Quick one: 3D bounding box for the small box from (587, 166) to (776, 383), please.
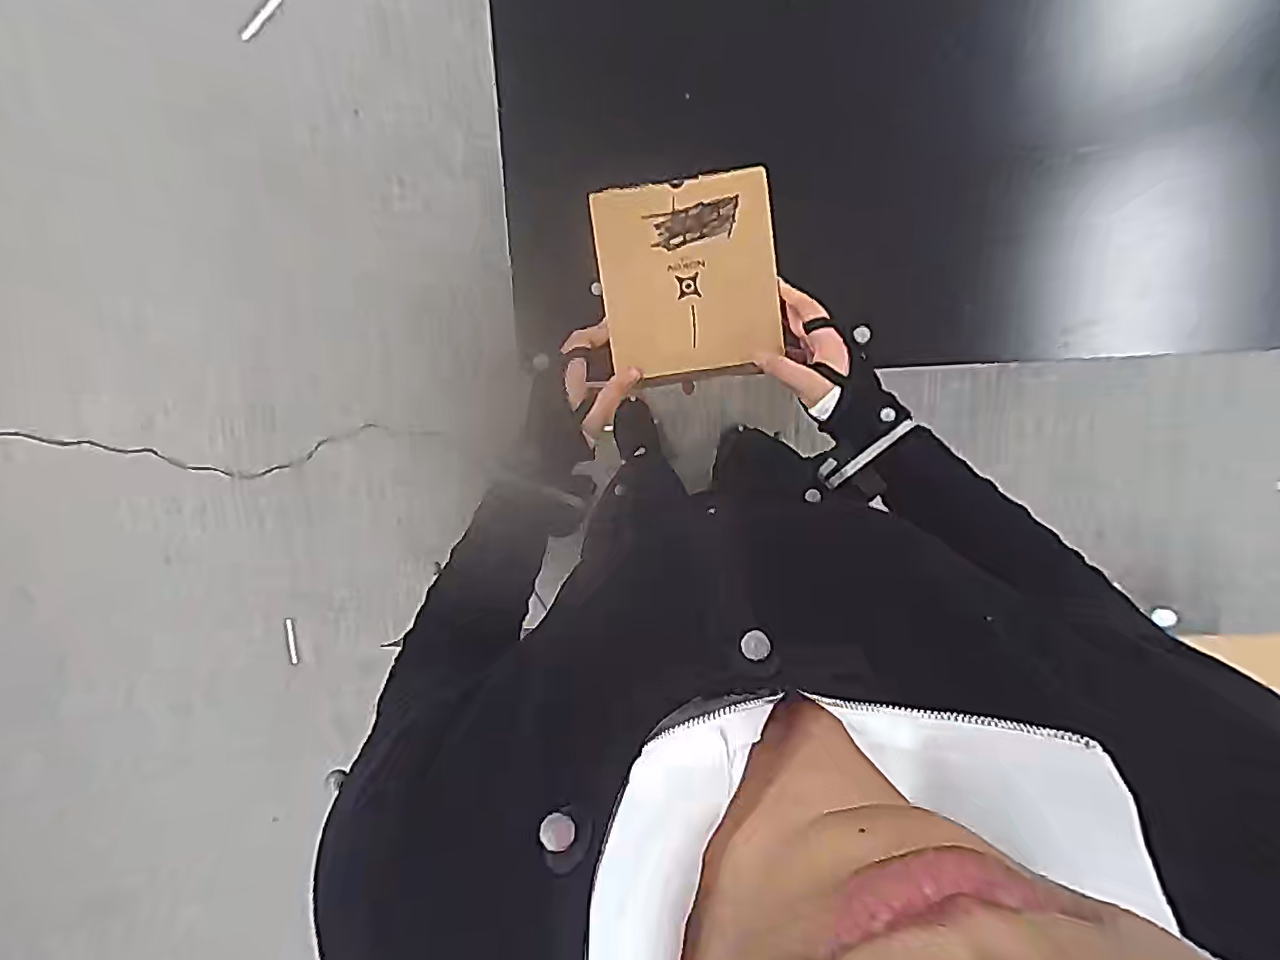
[{"bbox_3d":[0.042,-0.207,0.593,0.168,0.176,0.179,-8,98,3],"label":"small box"}]
